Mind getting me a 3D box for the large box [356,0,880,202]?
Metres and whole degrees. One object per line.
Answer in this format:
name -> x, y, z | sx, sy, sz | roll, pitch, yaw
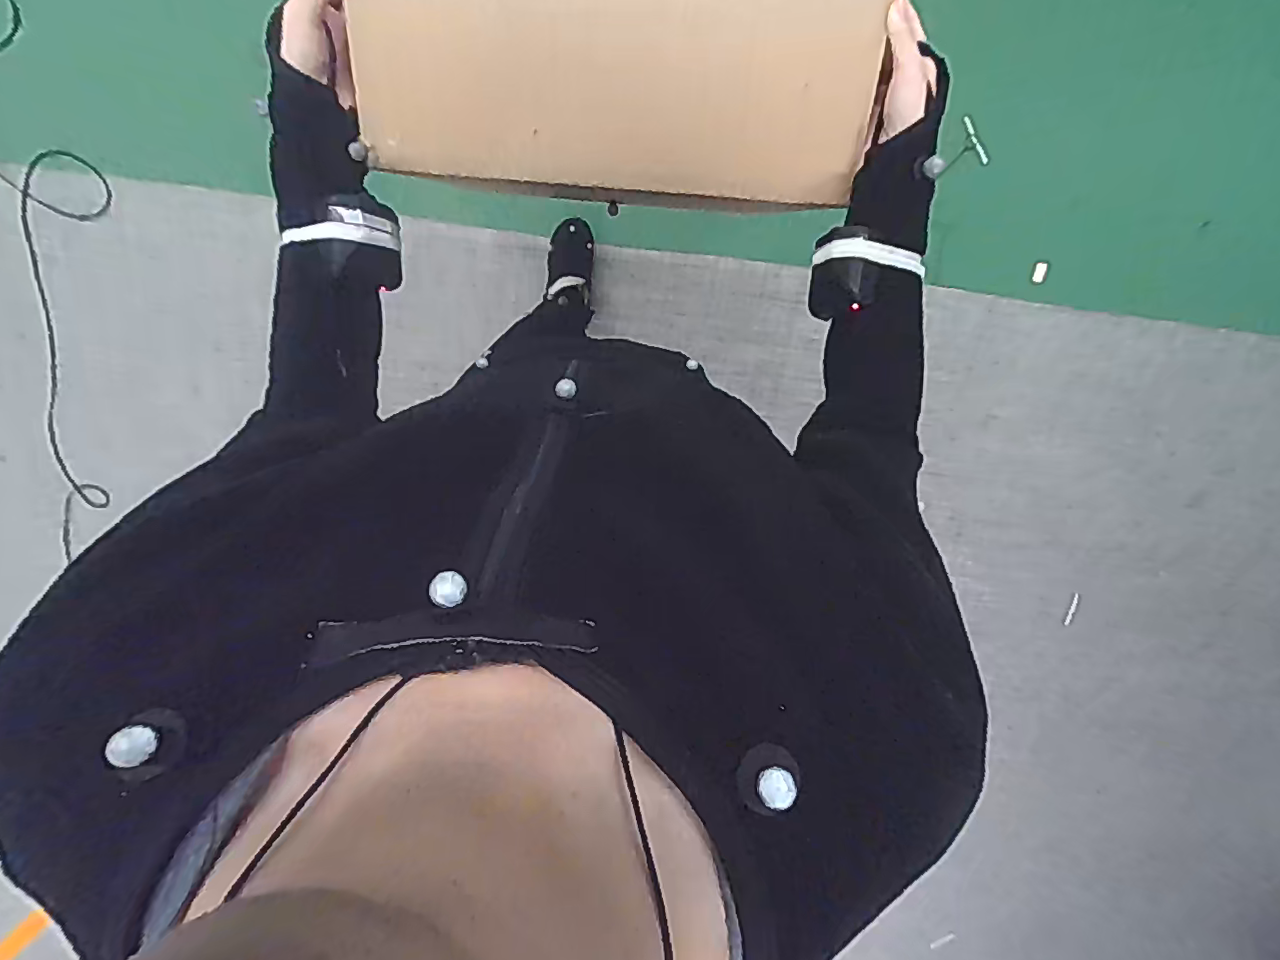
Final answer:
large box -> -0.016, -0.456, 0.530 | 0.408, 0.320, 0.320 | 2, 115, -4
